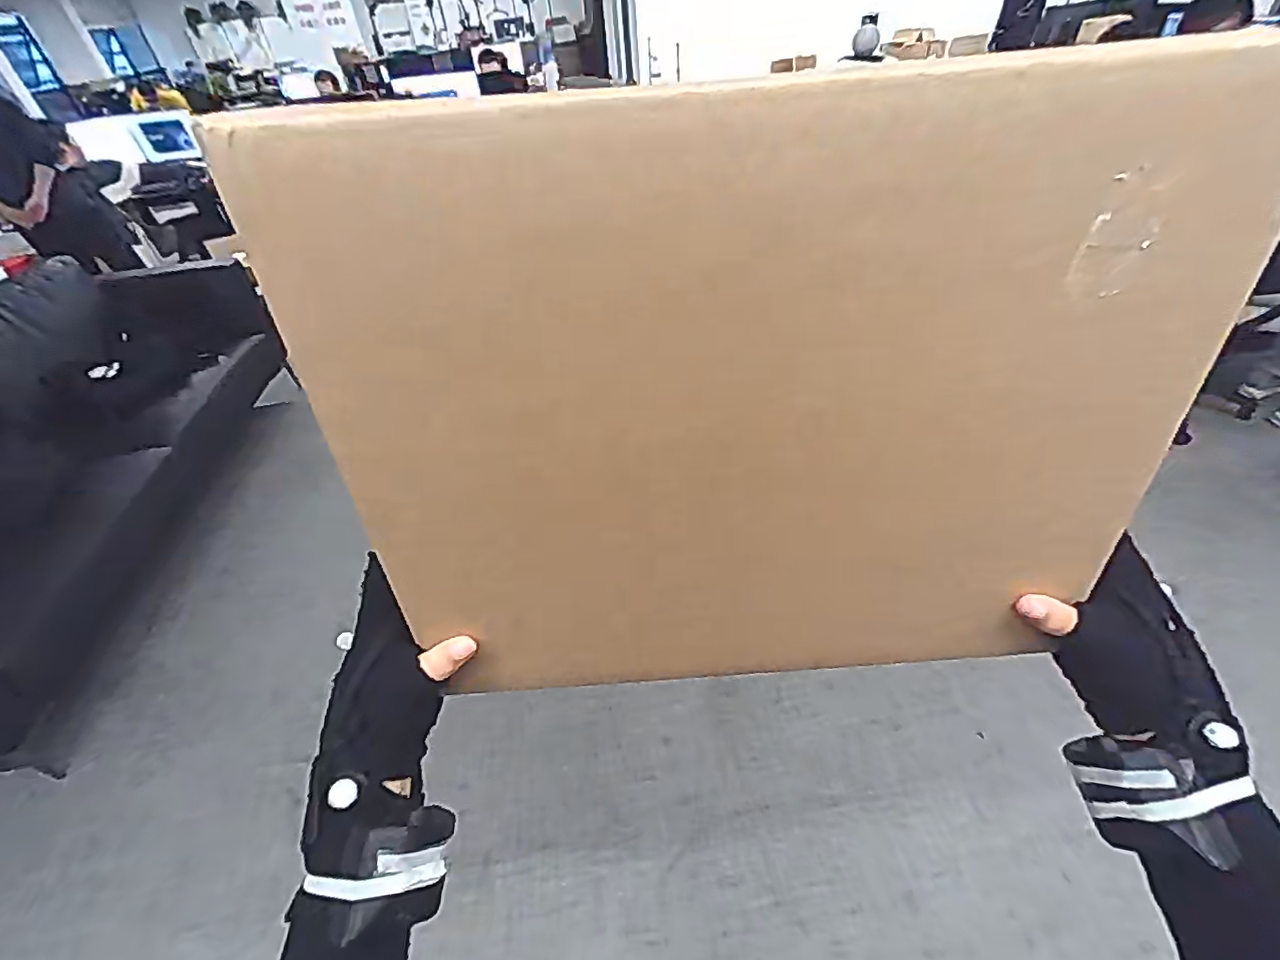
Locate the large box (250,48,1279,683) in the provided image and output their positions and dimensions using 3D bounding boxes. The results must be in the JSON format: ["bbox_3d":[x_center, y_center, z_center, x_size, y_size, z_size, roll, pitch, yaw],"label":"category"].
[{"bbox_3d":[0.059,-0.088,0.394,0.408,0.320,0.320,-4,34,-1],"label":"large box"}]
